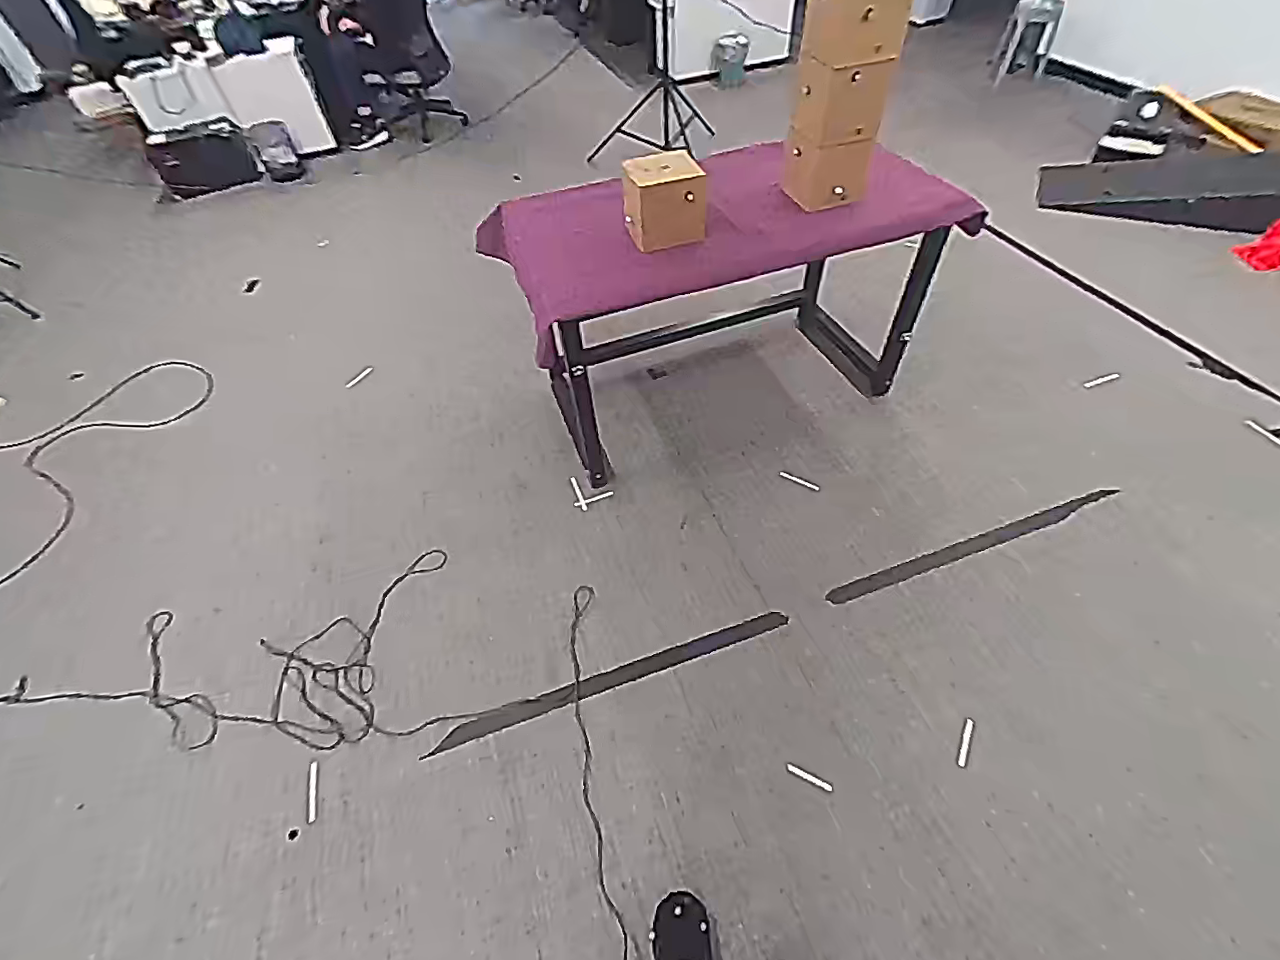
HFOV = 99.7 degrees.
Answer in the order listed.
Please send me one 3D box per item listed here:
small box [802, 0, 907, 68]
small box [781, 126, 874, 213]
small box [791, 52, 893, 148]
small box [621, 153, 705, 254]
[{"bbox_3d":[0.489,-1.063,1.231,0.168,0.176,0.179,-15,52,-6],"label":"small box"},{"bbox_3d":[0.507,-0.869,1.494,0.168,0.176,0.179,-16,53,-7],"label":"small box"},{"bbox_3d":[0.497,-0.966,1.363,0.168,0.176,0.179,-15,51,-6],"label":"small box"},{"bbox_3d":[0.059,-0.722,1.415,0.179,0.176,0.168,-16,51,-7],"label":"small box"}]
